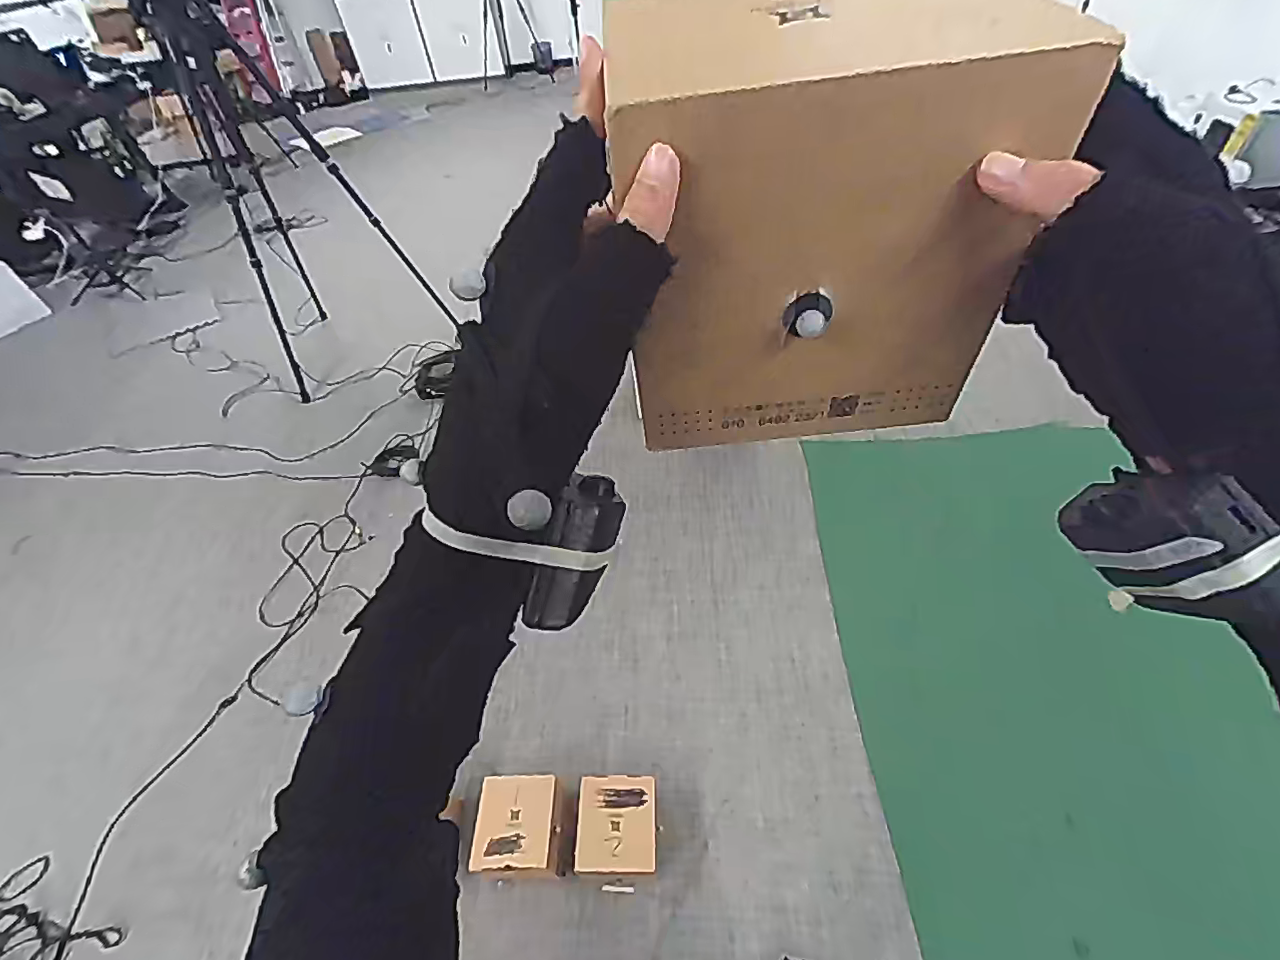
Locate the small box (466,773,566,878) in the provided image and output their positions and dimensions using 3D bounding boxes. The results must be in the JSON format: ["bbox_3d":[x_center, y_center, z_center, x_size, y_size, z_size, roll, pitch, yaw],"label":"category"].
[{"bbox_3d":[-0.268,0.781,1.216,0.168,0.176,0.179,-4,46,5],"label":"small box"}]
